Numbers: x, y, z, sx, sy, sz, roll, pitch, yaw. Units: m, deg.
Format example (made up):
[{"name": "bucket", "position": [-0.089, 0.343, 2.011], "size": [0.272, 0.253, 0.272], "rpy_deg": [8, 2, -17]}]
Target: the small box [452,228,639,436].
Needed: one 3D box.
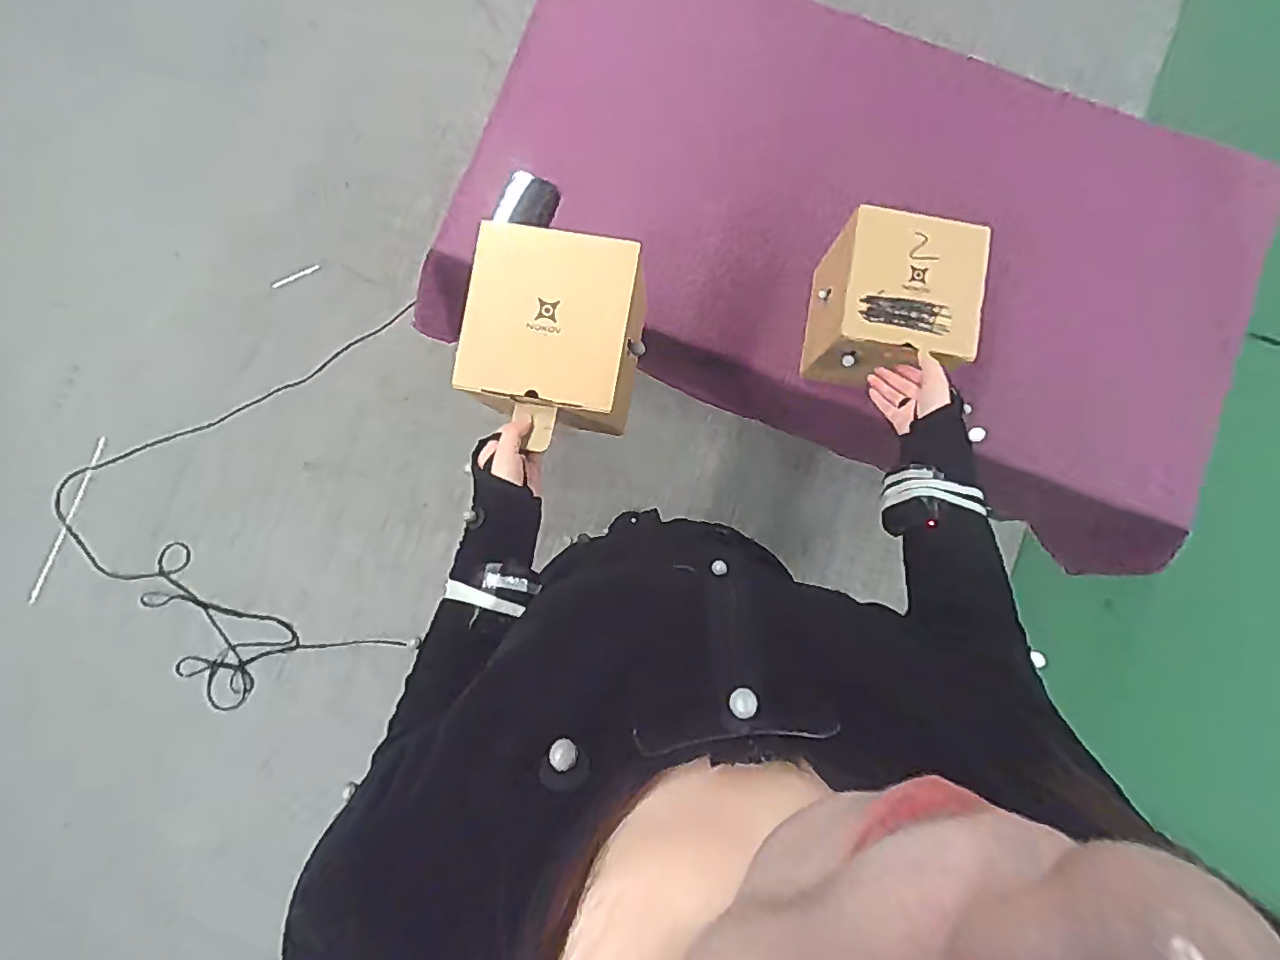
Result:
[{"name": "small box", "position": [-0.095, -0.157, 0.627], "size": [0.168, 0.176, 0.179], "rpy_deg": [9, 88, 3]}]
